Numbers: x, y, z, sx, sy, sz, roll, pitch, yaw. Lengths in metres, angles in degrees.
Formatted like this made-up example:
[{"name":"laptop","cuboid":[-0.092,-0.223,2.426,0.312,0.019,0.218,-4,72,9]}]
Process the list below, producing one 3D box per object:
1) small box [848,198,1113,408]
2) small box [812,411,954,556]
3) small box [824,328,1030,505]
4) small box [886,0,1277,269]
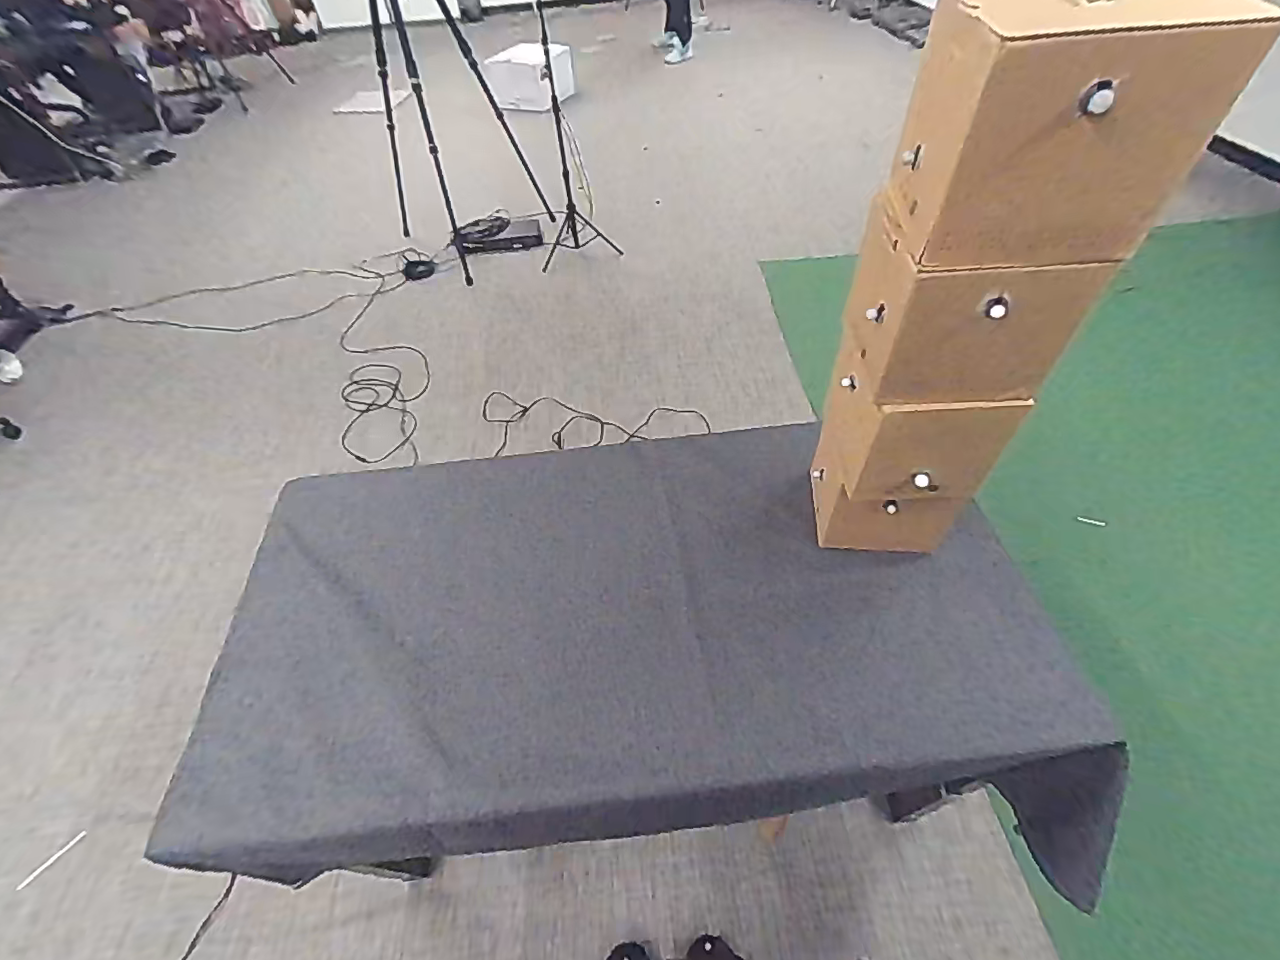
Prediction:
[{"name":"small box","cuboid":[0.338,-0.192,0.589,0.179,0.176,0.168,0,51,5]},{"name":"small box","cuboid":[0.372,0.006,0.847,0.179,0.176,0.168,3,50,7]},{"name":"small box","cuboid":[0.353,-0.085,0.711,0.168,0.176,0.179,-3,50,3]},{"name":"small box","cuboid":[0.338,-0.298,0.466,0.179,0.176,0.168,1,51,7]}]
